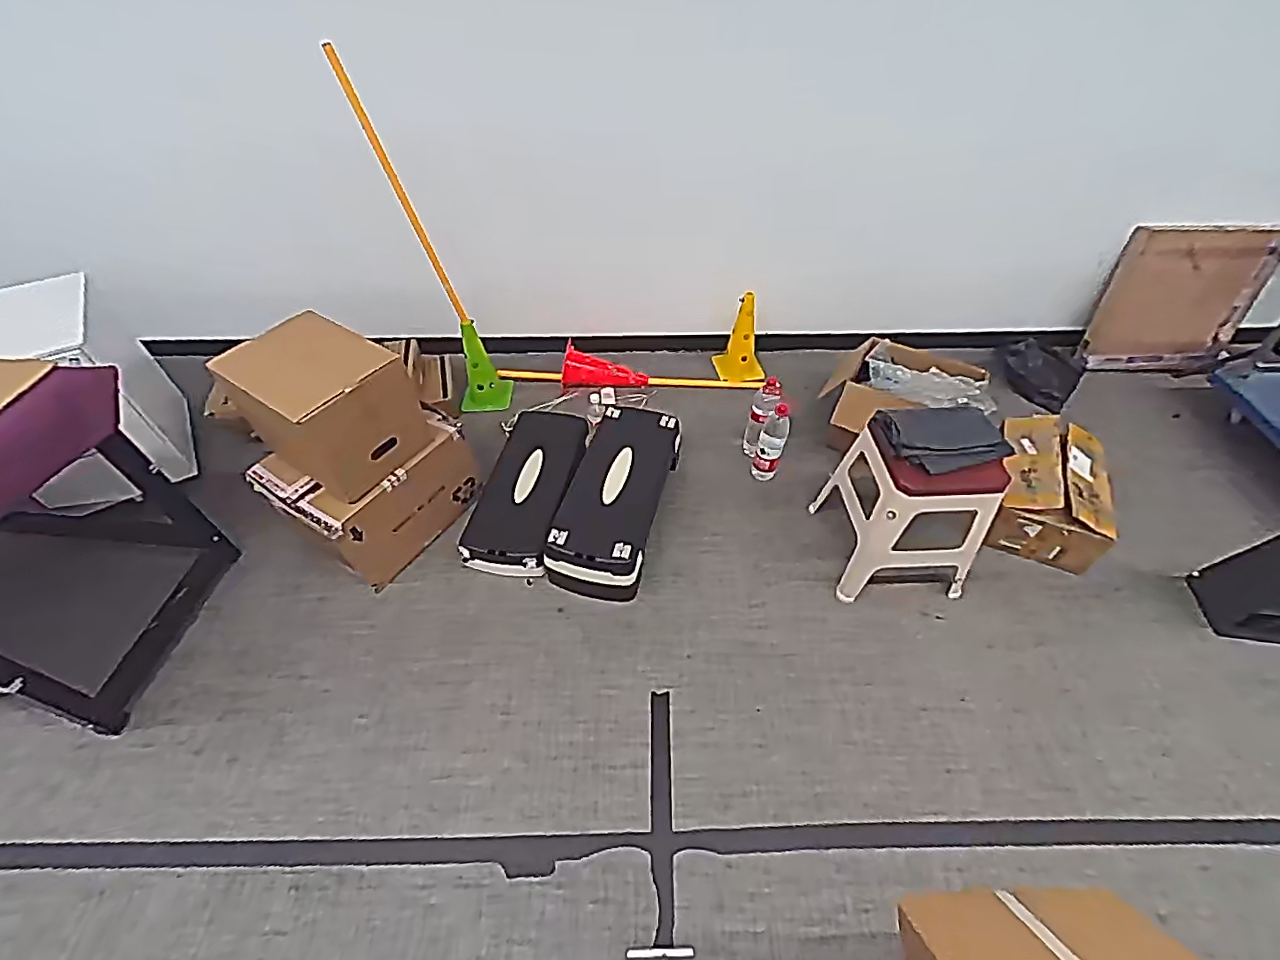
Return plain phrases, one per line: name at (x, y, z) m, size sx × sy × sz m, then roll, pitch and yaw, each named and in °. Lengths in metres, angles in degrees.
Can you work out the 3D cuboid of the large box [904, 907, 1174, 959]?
large box at (0.543, 0.760, 0.586) m, size 0.320 × 0.408 × 0.320 m, roll -3°, pitch 83°, yaw 0°
